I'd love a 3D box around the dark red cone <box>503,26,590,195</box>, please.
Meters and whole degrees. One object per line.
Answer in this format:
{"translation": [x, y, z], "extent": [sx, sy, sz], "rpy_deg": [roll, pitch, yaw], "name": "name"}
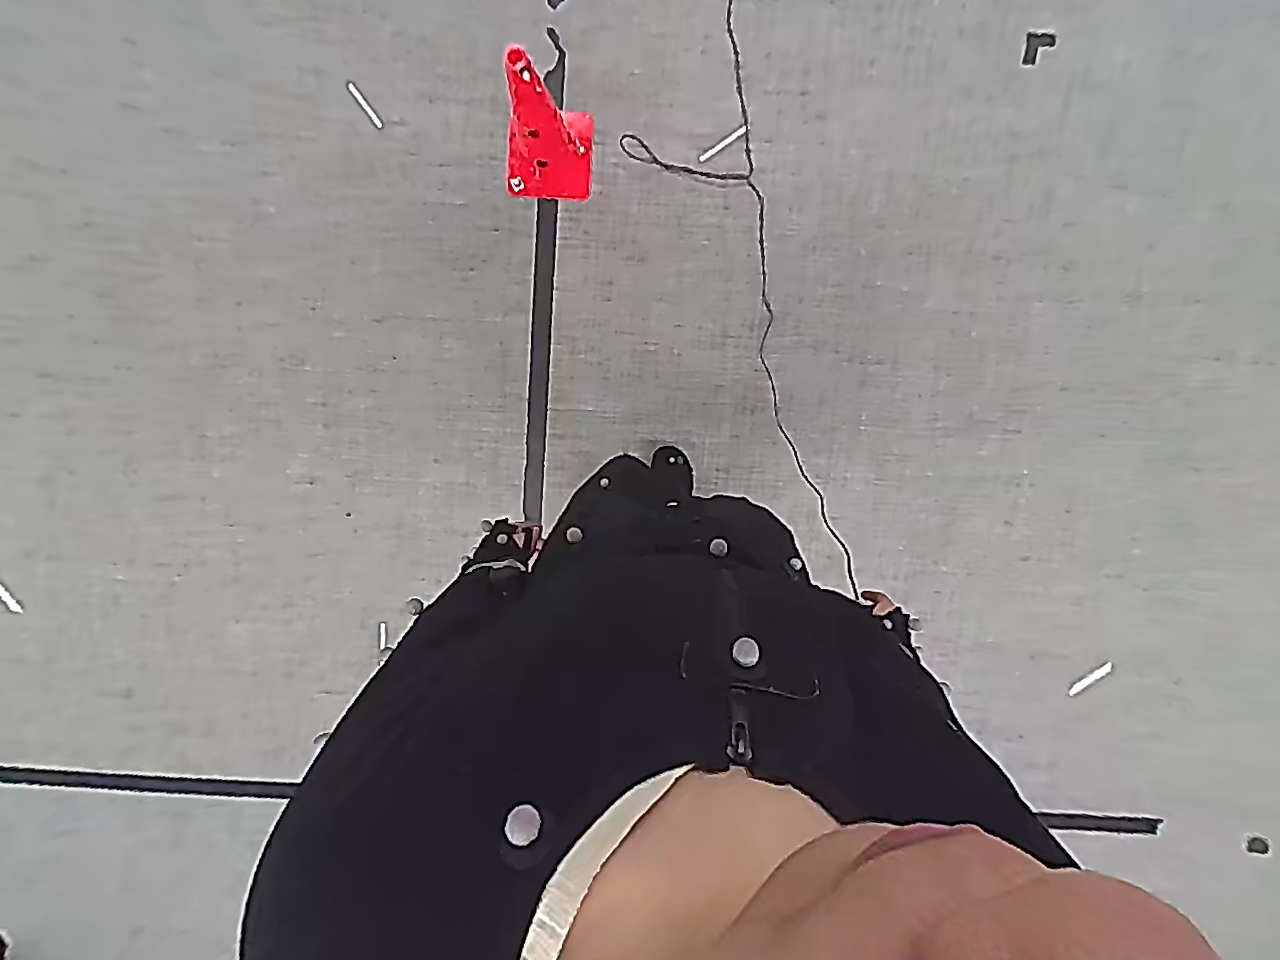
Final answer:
{"translation": [-0.215, -0.753, 1.094], "extent": [0.201, 0.394, 0.202], "rpy_deg": [3, 96, -1], "name": "dark red cone"}
